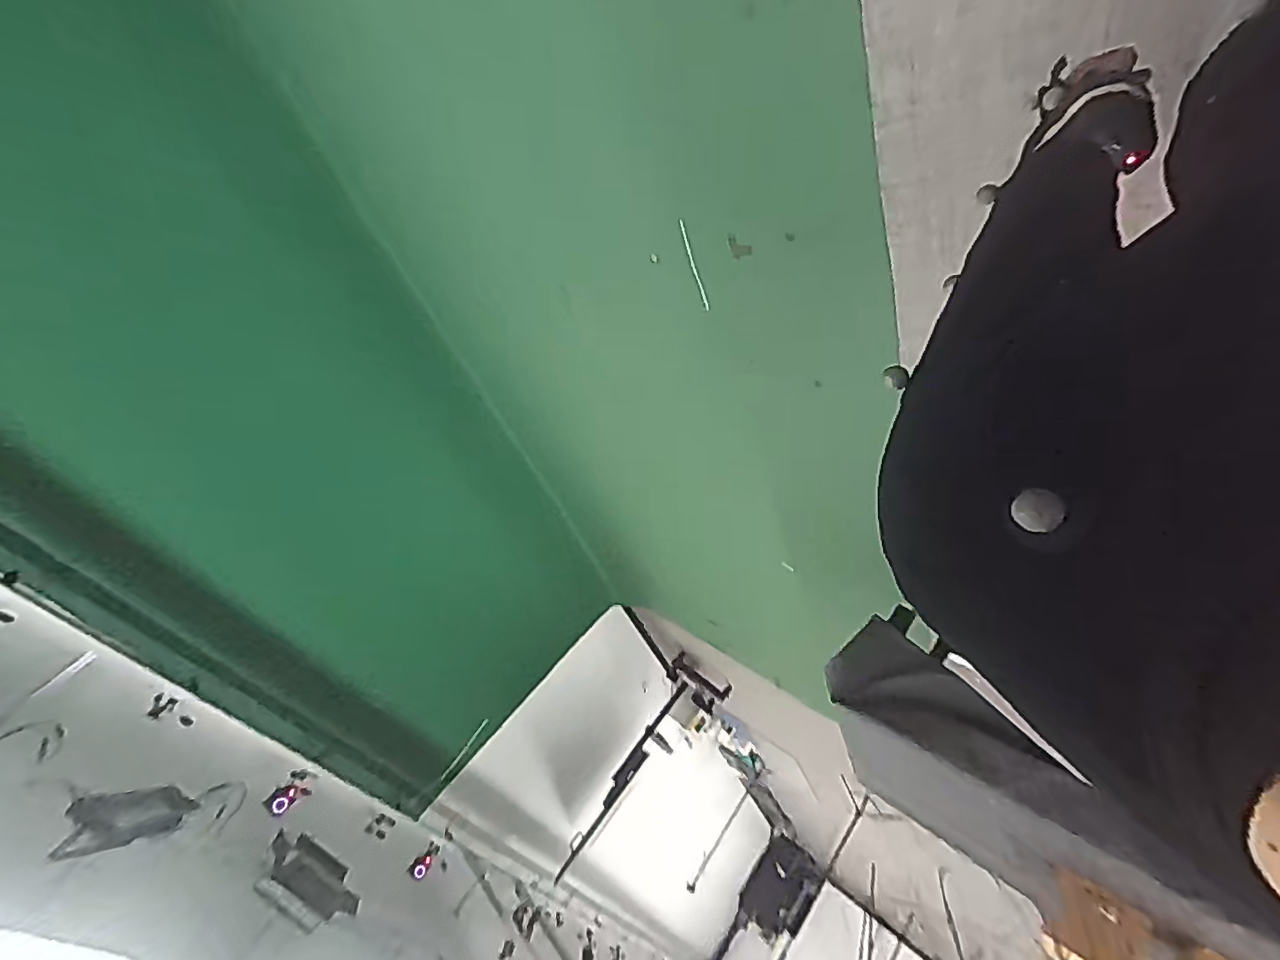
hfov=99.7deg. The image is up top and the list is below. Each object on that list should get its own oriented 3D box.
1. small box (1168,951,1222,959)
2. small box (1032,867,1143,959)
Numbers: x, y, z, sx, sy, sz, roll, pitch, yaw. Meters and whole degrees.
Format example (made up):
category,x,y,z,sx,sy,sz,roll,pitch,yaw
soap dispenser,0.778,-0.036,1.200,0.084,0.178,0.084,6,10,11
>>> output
category,x,y,z,sx,sy,sz,roll,pitch,yaw
small box,1.182,1.091,1.081,0.179,0.176,0.168,24,149,38
small box,1.036,1.055,1.256,0.168,0.176,0.179,15,142,47
